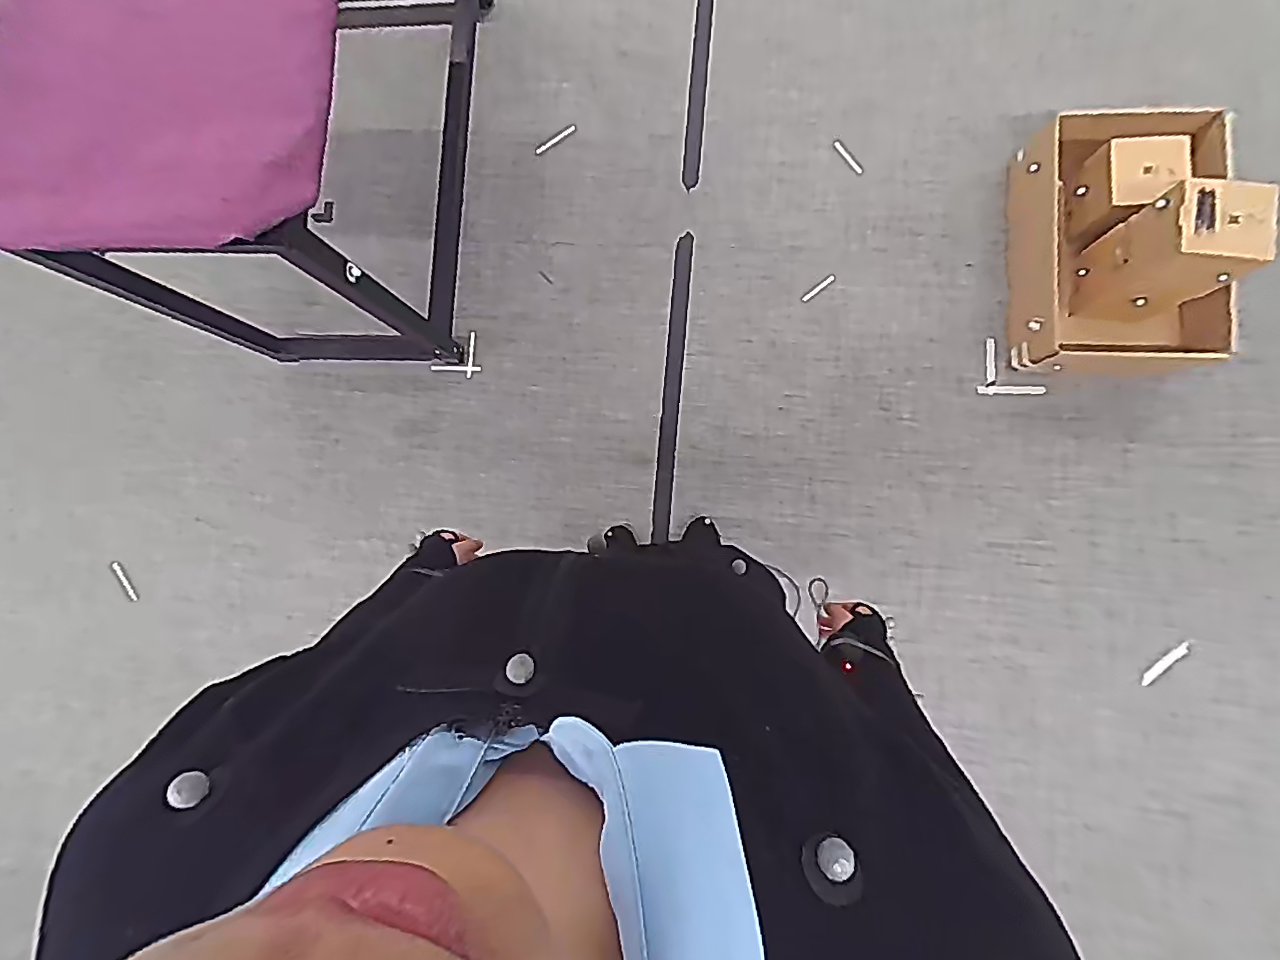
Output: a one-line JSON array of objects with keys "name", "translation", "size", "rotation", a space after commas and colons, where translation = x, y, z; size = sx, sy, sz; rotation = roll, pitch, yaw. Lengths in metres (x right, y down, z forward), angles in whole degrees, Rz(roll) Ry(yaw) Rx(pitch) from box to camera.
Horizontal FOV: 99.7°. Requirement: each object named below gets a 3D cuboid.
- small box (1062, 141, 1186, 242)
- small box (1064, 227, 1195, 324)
[{"name": "small box", "translation": [1.203, -0.716, 1.358], "size": [0.179, 0.176, 0.168], "rotation": [1, 87, 5]}, {"name": "small box", "translation": [1.211, -0.500, 1.345], "size": [0.179, 0.176, 0.168], "rotation": [7, 84, 6]}]
